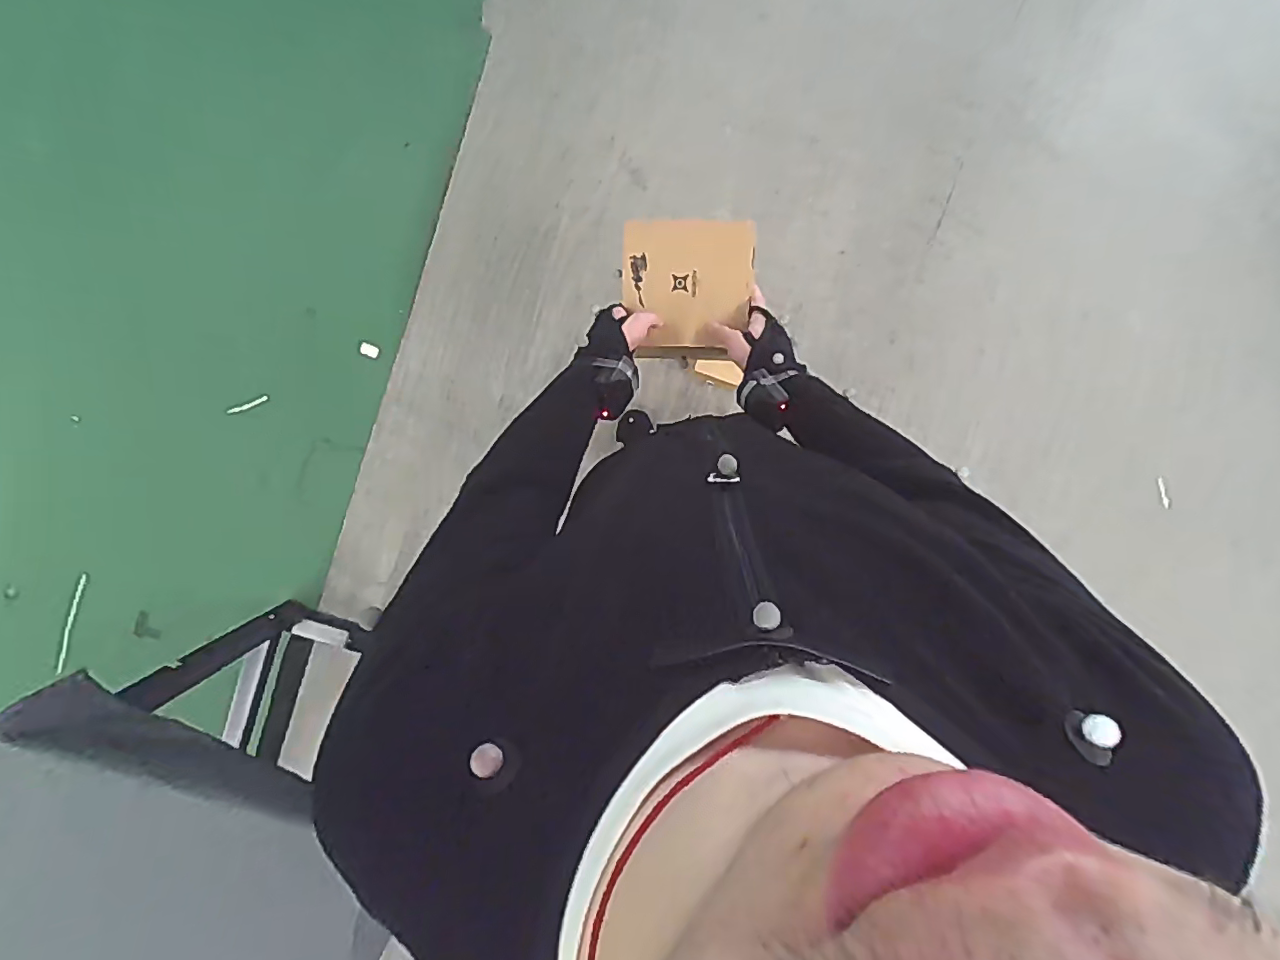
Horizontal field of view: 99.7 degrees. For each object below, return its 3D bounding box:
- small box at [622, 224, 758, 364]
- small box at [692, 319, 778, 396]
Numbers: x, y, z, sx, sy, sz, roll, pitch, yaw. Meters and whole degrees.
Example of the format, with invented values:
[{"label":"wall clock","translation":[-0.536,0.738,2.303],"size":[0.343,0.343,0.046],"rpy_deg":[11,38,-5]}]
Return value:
[{"label":"small box","translation":[0.068,-0.264,0.800],"size":[0.179,0.176,0.168],"rpy_deg":[3,97,3]},{"label":"small box","translation":[0.246,-0.339,1.454],"size":[0.168,0.176,0.179],"rpy_deg":[21,95,-2]}]
